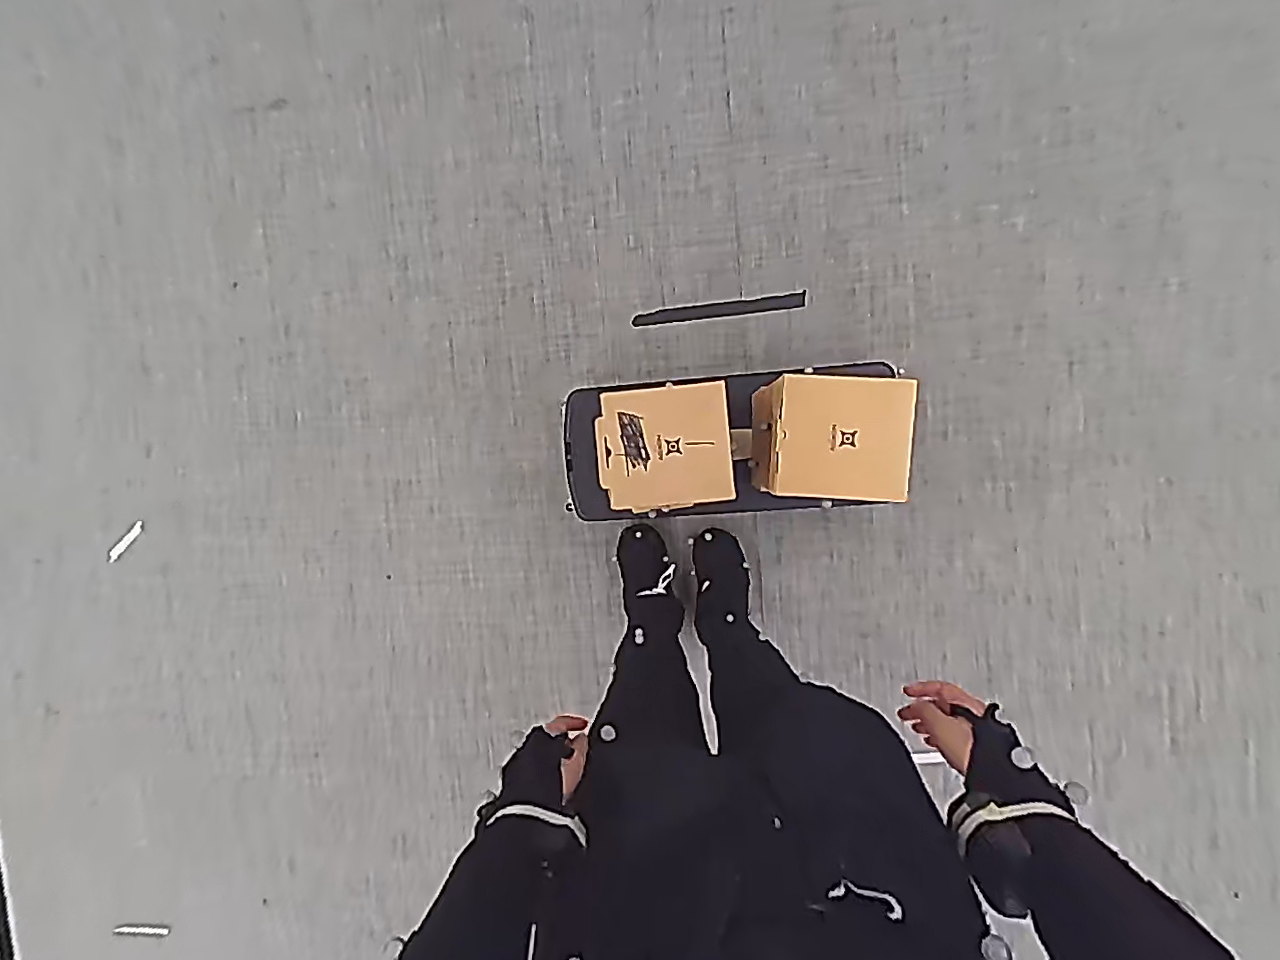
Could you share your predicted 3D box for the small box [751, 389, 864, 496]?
[{"bbox_3d":[0.289,-0.067,0.964,0.168,0.176,0.179,0,93,6],"label":"small box"}]
